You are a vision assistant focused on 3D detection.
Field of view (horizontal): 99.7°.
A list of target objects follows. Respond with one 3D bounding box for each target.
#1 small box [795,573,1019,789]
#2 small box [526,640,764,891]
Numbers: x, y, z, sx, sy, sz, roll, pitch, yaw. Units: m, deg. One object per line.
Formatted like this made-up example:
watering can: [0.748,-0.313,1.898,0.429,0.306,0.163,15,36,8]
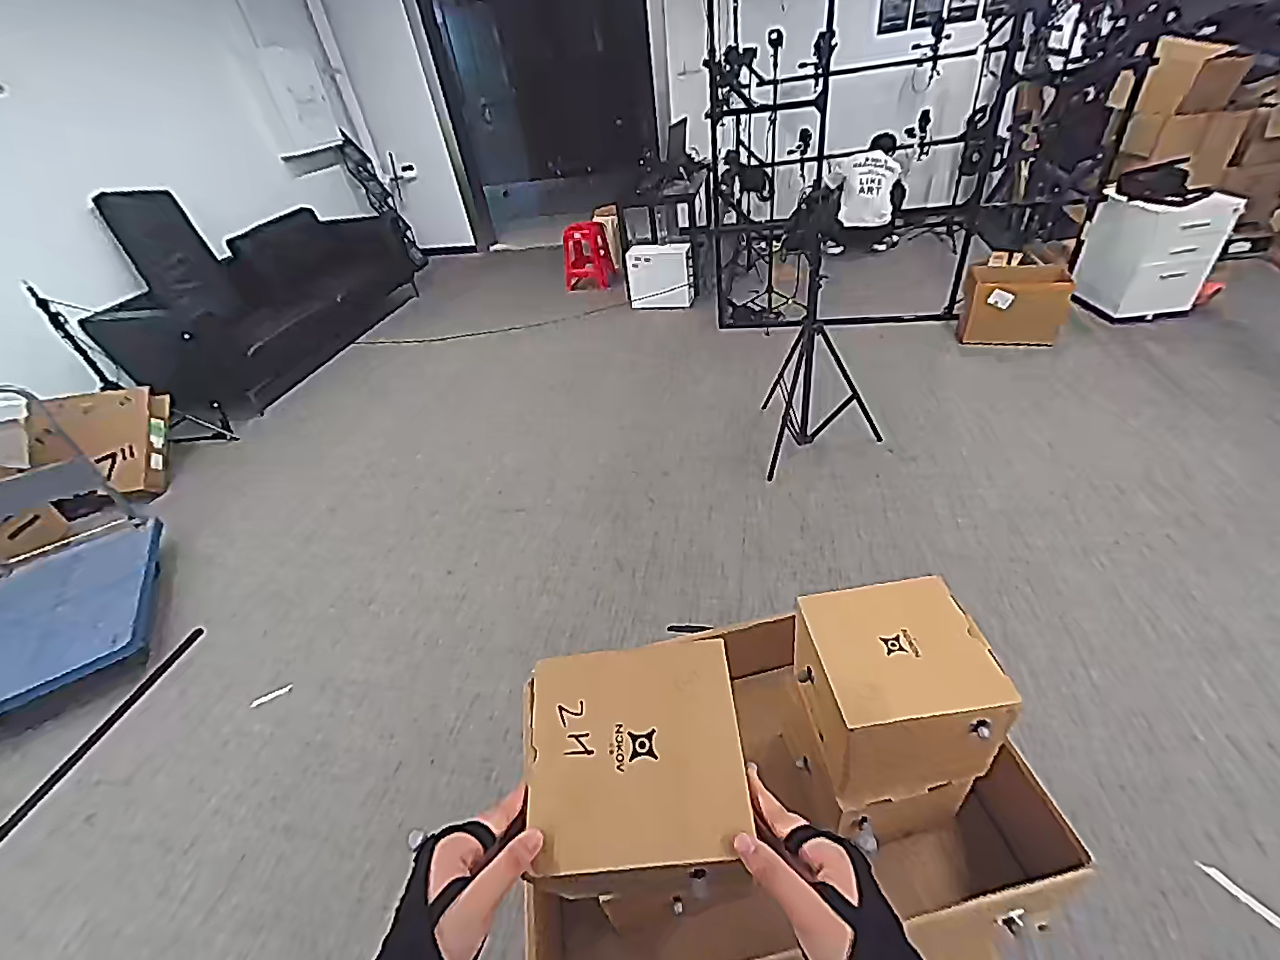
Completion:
small box: [0.293,0.239,0.639,0.179,0.176,0.168,-10,39,1]
small box: [0.009,0.266,0.499,0.179,0.176,0.168,-8,48,4]
